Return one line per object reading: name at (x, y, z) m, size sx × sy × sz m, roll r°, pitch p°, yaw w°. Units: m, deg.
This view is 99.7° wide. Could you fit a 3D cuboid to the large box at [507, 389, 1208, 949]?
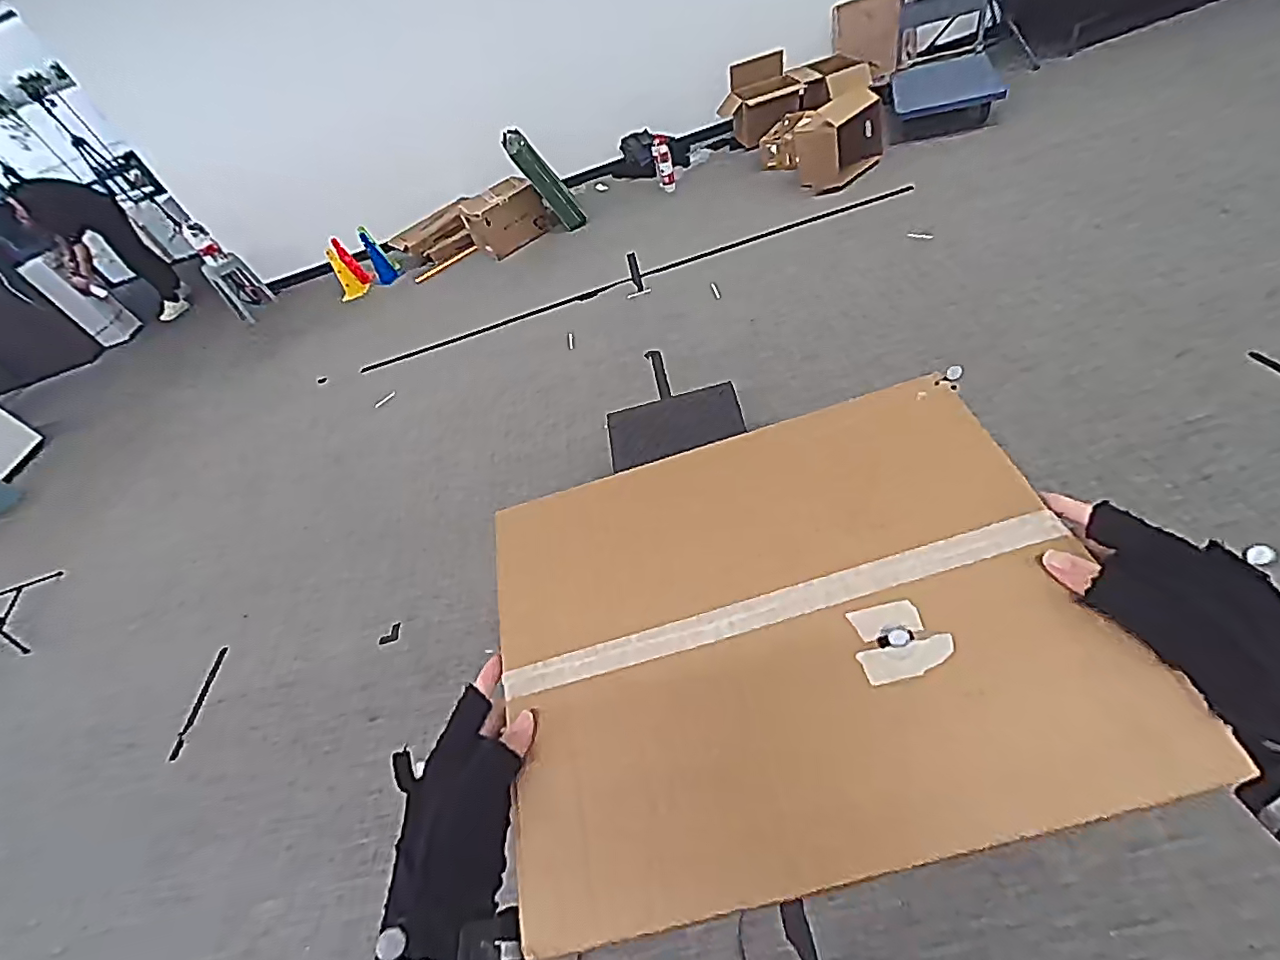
large box at (0.129, 0.180, 0.515) m, size 0.408 × 0.320 × 0.320 m, roll -18°, pitch 54°, yaw 3°
